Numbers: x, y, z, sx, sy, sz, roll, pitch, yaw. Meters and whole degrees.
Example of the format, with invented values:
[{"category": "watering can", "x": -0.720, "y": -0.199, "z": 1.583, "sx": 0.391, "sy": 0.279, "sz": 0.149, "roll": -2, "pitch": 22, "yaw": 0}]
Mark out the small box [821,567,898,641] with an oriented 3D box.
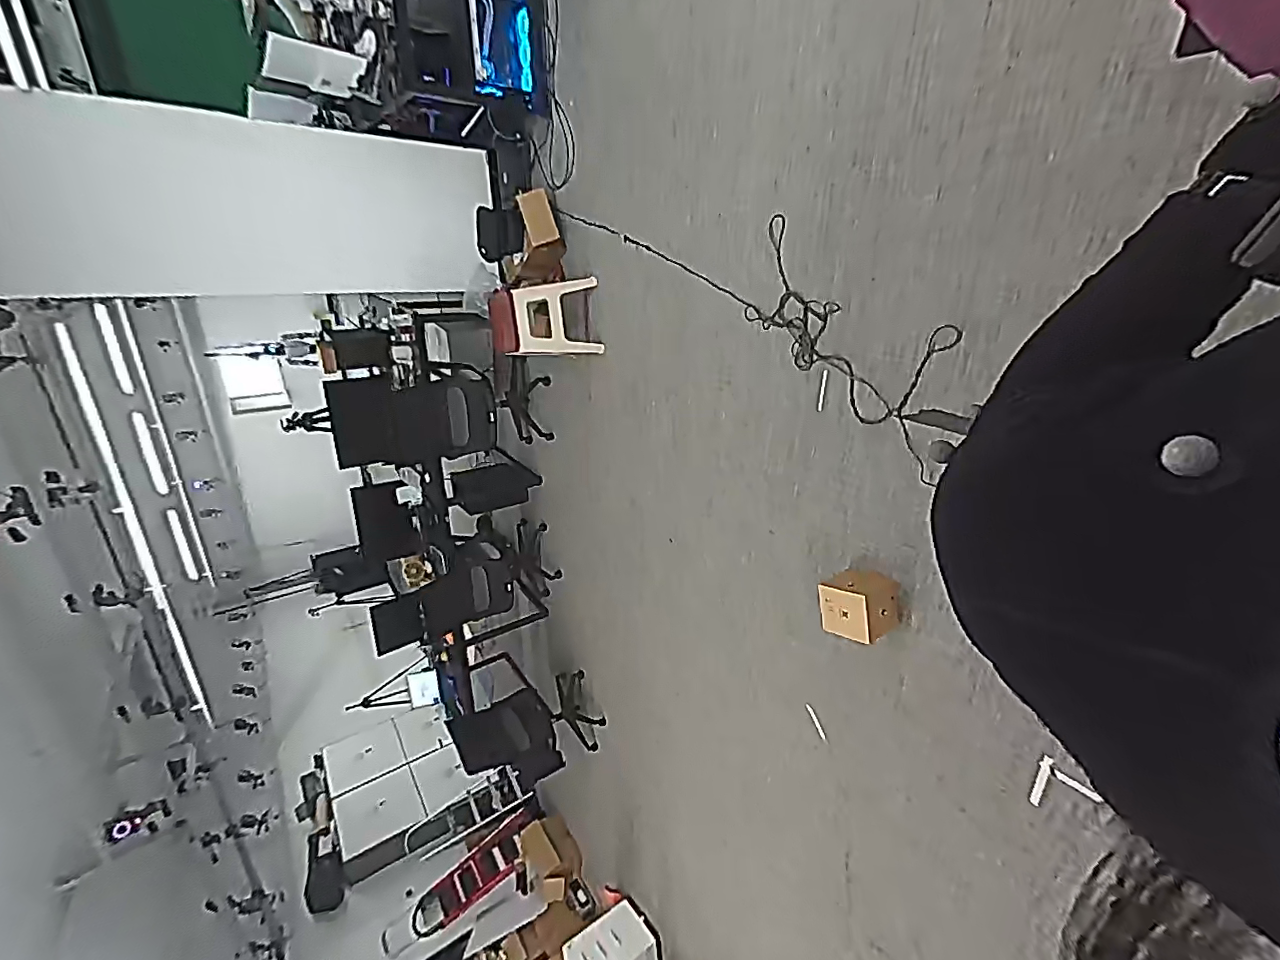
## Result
[{"category": "small box", "x": 0.720, "y": 0.396, "z": 1.764, "sx": 0.179, "sy": 0.176, "sz": 0.168, "roll": 6, "pitch": 108, "yaw": 56}]
